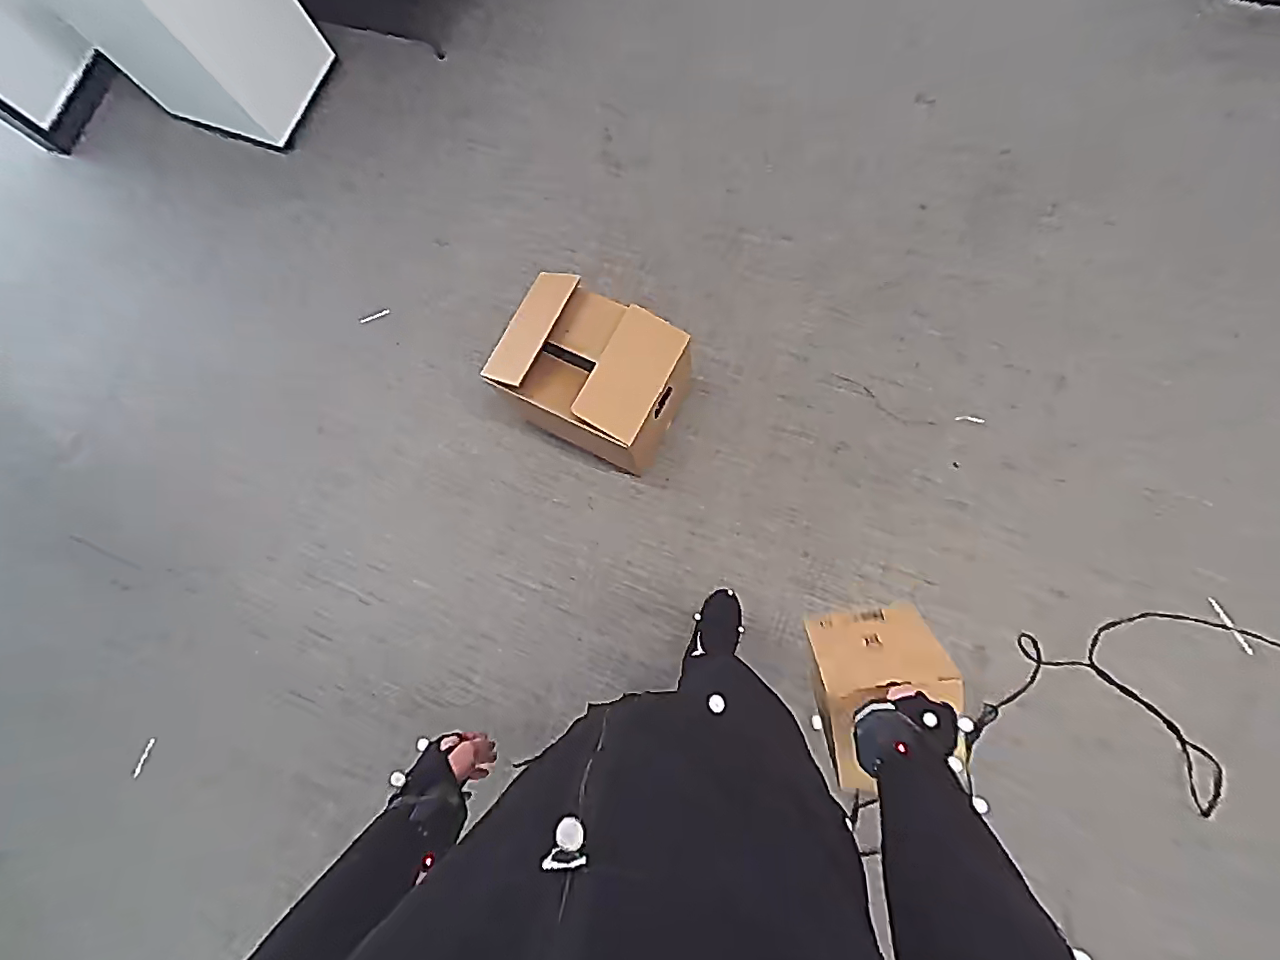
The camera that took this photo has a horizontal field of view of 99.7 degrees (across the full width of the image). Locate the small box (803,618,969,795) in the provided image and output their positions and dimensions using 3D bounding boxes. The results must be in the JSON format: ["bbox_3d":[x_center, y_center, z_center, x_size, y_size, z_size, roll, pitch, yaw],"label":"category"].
[{"bbox_3d":[0.347,0.326,0.781,0.168,0.179,0.176,-11,100,8],"label":"small box"}]
